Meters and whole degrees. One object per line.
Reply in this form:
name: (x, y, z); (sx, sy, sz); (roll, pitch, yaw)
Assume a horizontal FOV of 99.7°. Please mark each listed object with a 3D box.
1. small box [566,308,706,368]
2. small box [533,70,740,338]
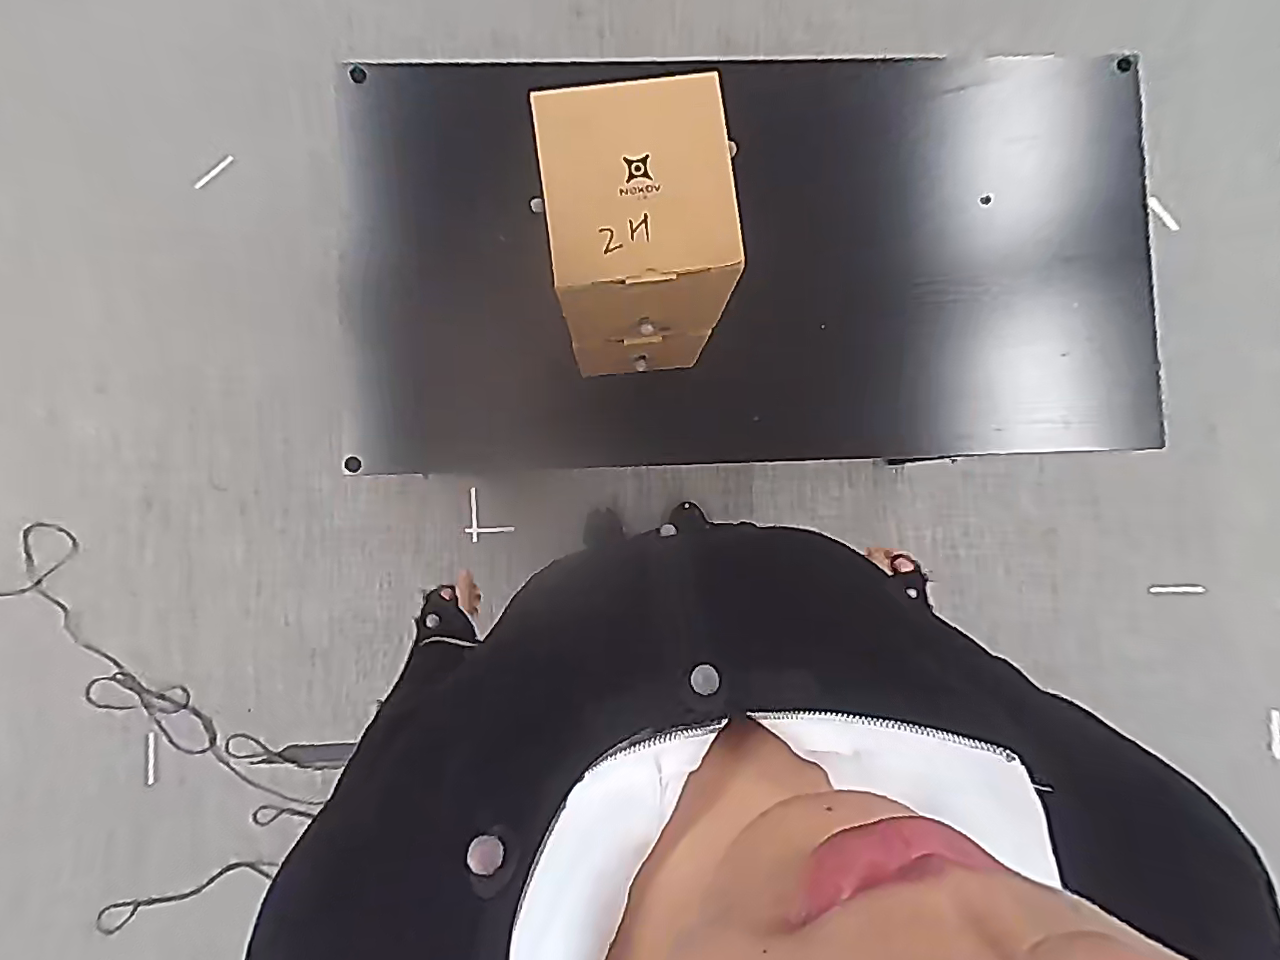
small box: (-0.010, -0.252, 0.714); (0.168, 0.176, 0.179); (-6, 88, -1)
small box: (-0.006, -0.262, 0.549); (0.168, 0.176, 0.179); (-7, 88, -1)
